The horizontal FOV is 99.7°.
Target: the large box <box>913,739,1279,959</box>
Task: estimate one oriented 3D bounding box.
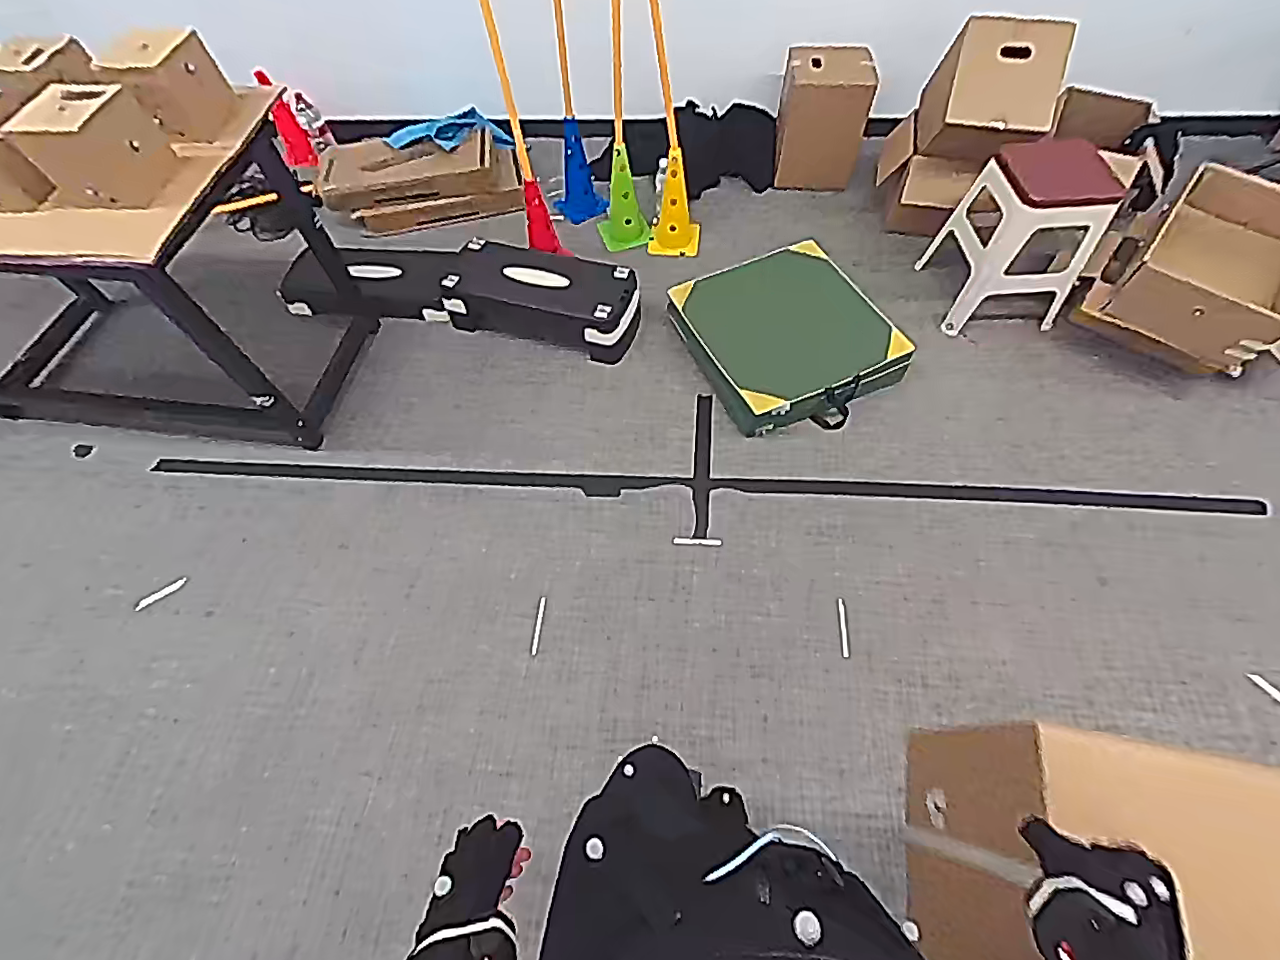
[{"bbox_3d":[0.578,0.543,0.678,0.320,0.408,0.320,12,64,13],"label":"large box"}]
